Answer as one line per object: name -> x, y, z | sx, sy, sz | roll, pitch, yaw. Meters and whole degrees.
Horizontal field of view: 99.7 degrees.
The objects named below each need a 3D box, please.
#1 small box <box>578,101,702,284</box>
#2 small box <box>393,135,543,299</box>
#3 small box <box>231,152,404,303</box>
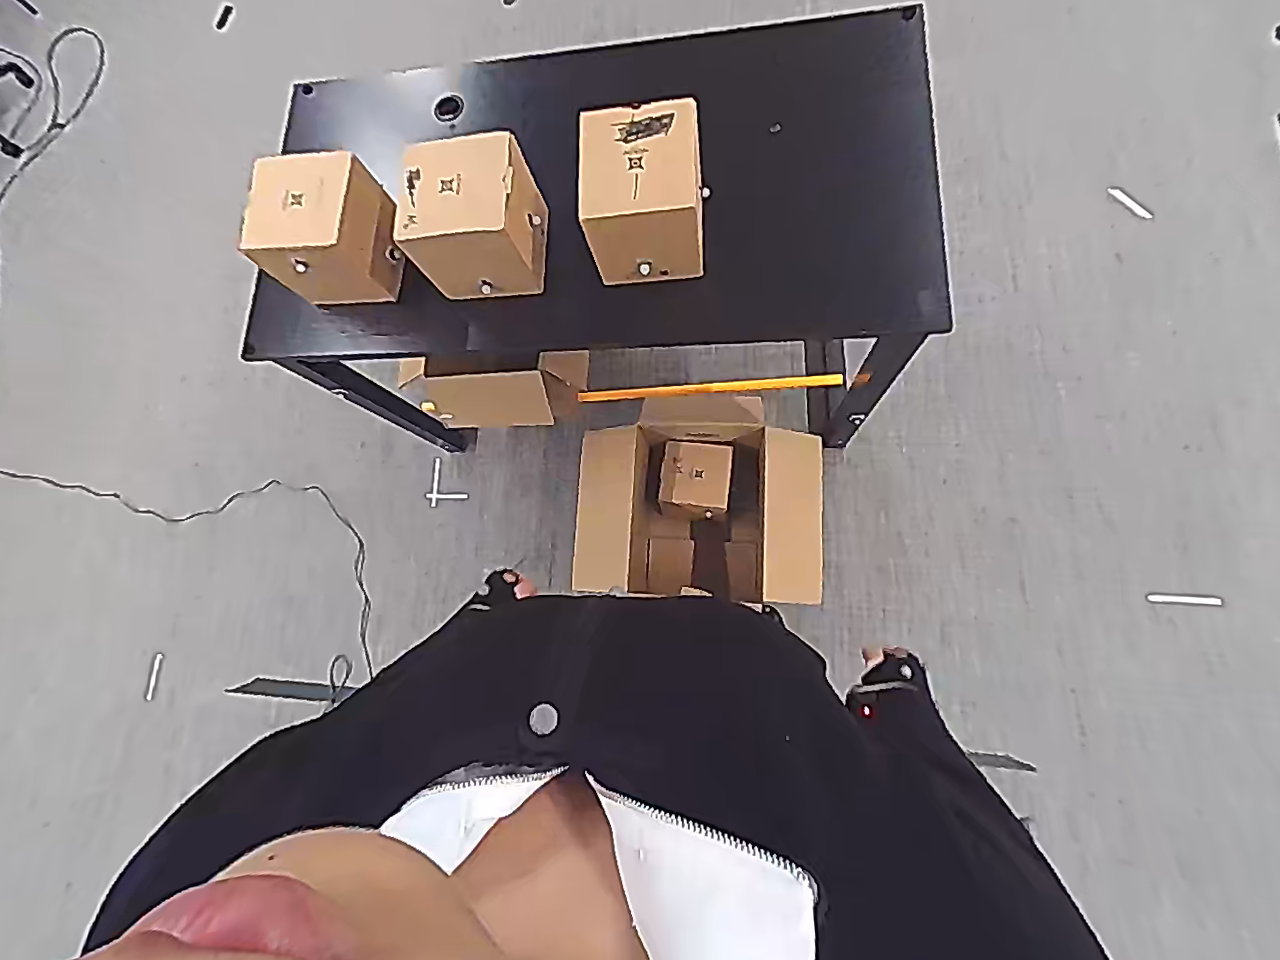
small box -> 0.008, -0.426, 0.824 | 0.168, 0.176, 0.179 | -2, 78, 9
small box -> -0.261, -0.409, 0.863 | 0.179, 0.176, 0.168 | -1, 77, 7
small box -> -0.521, -0.410, 0.903 | 0.179, 0.176, 0.168 | 2, 79, 8
